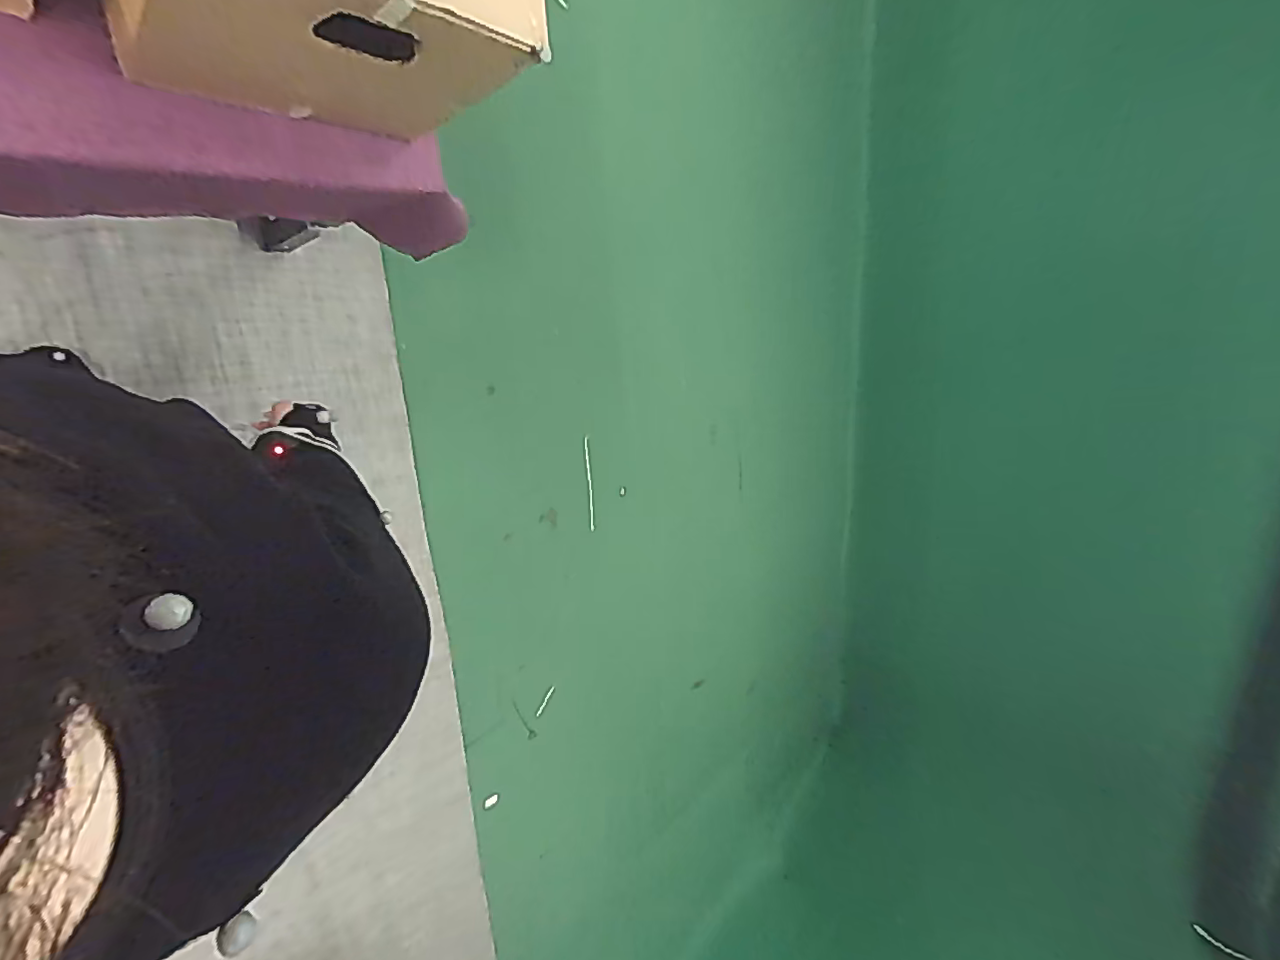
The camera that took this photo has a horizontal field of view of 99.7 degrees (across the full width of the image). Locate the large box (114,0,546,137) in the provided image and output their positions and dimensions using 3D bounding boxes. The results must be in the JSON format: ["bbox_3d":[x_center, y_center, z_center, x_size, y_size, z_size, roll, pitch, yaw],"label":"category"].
[{"bbox_3d":[-0.324,-0.620,0.514,0.320,0.320,0.408,-19,112,-44],"label":"large box"}]
